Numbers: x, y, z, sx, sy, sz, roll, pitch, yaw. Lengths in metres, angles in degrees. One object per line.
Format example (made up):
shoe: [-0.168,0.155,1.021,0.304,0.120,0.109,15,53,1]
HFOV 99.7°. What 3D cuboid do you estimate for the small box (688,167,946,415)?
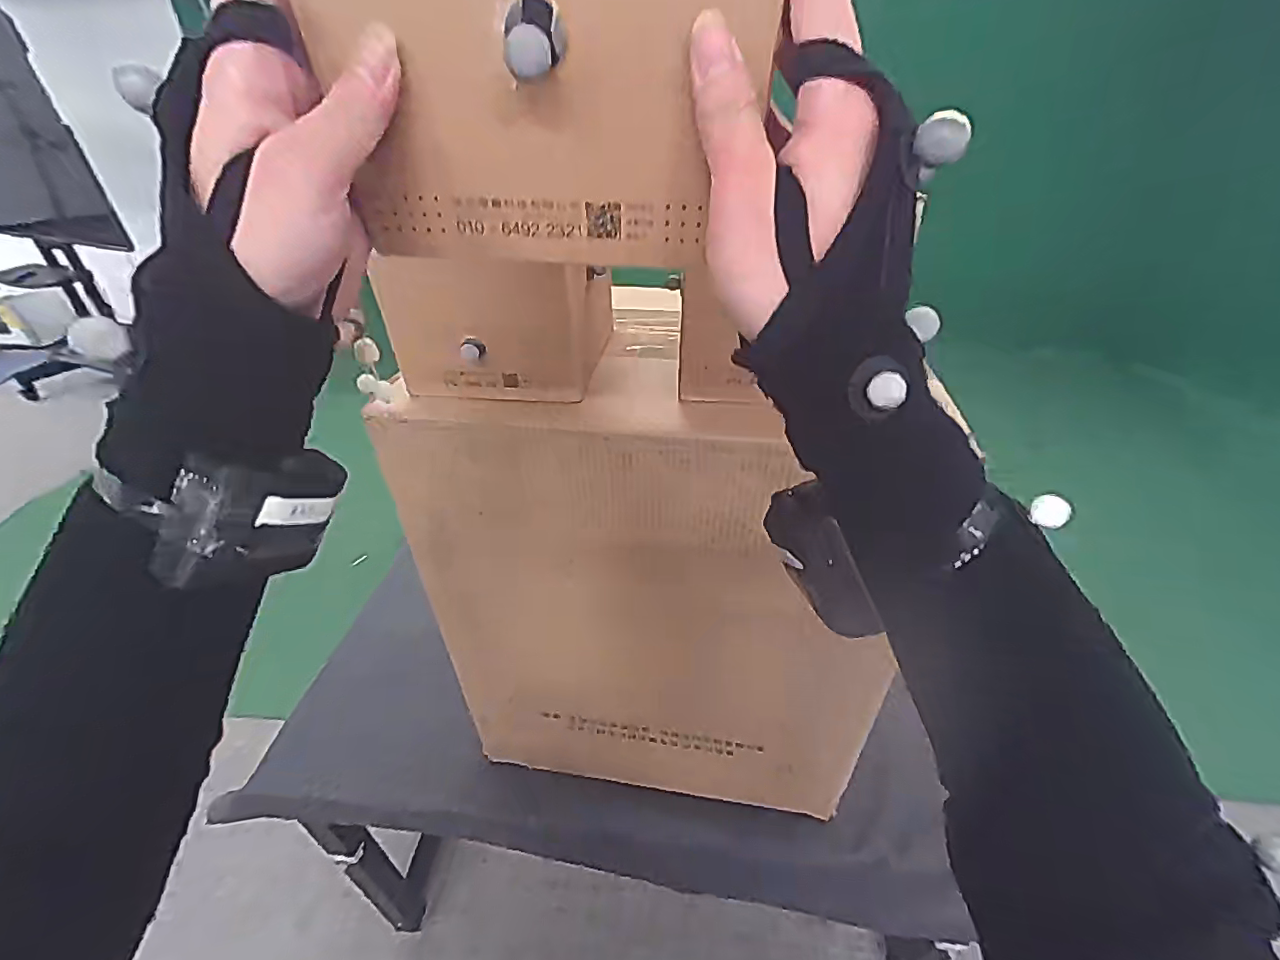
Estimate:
small box: [0.134,-0.173,0.486,0.168,0.176,0.179,4,38,2]

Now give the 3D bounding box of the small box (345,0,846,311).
small box: [-0.011,-0.192,0.244,0.168,0.176,0.179,2,48,0]

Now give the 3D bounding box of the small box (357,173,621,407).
small box: [-0.113,-0.186,0.495,0.168,0.176,0.179,5,39,9]
